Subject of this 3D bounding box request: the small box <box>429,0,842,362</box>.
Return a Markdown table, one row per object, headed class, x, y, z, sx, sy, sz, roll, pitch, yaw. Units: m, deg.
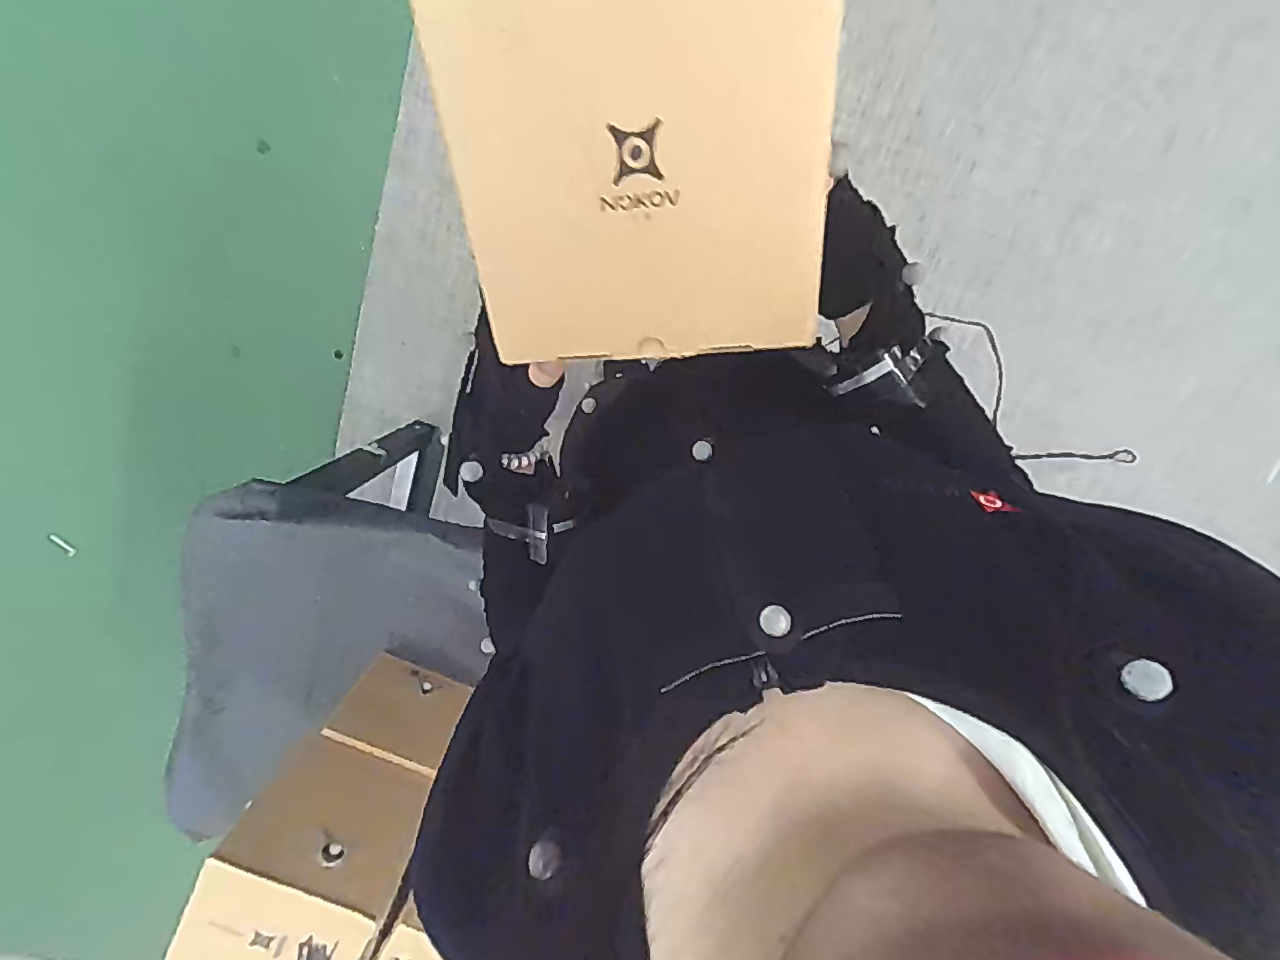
| class | x | y | z | sx | sy | sz | roll | pitch | yaw |
| --- | --- | --- | --- | --- | --- | --- | --- | --- | --- |
| small box | 0.005 | -0.185 | 0.311 | 0.168 | 0.176 | 0.179 | -2 | 125 | 6 |
